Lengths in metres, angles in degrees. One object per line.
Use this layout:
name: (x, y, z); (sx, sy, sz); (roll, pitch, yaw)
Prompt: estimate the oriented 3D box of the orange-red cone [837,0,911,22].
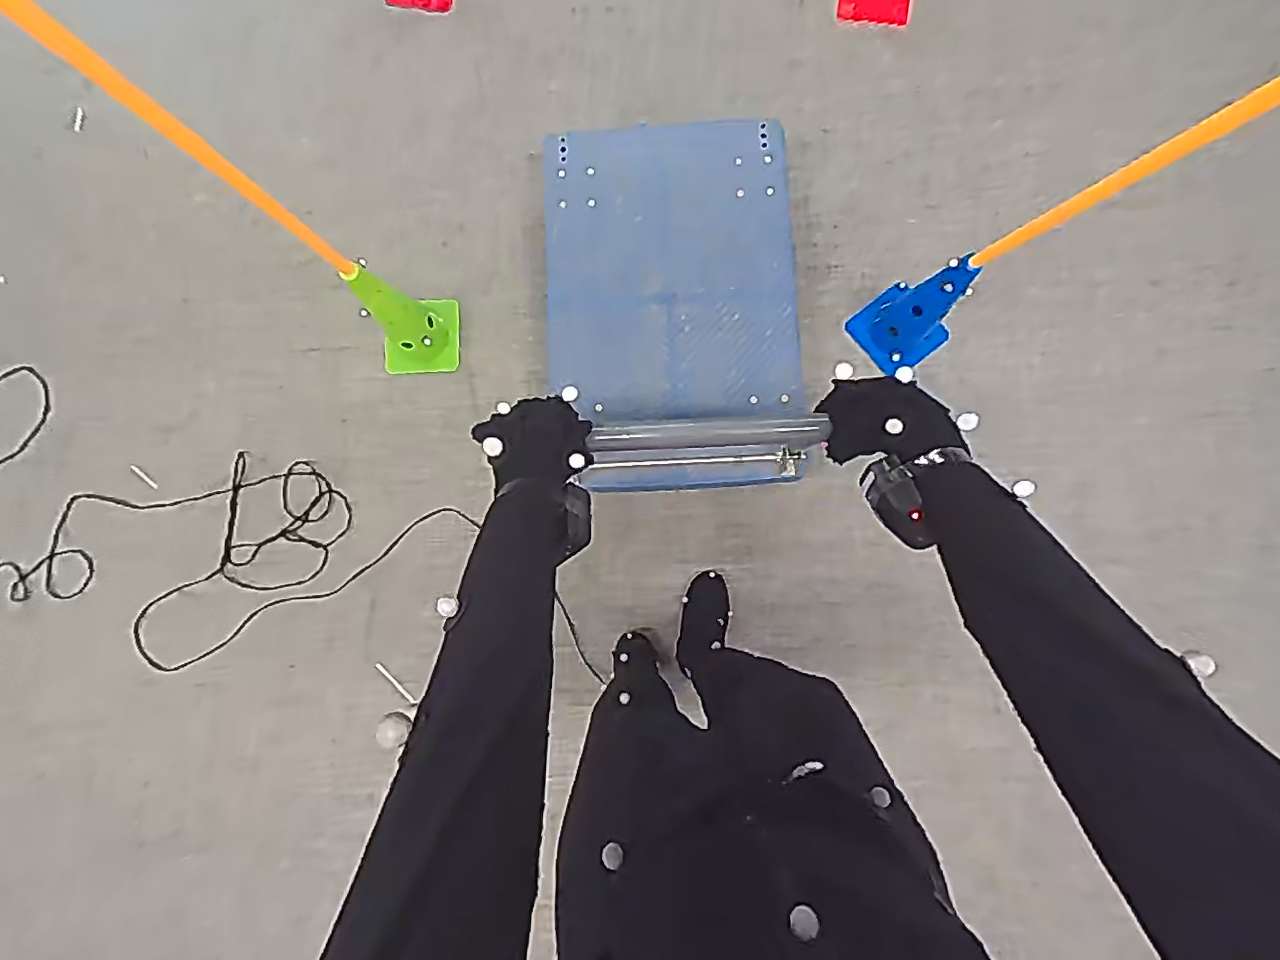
orange-red cone: (0.644, -1.379, 1.326); (0.198, 0.360, 0.199); (10, 85, 5)
